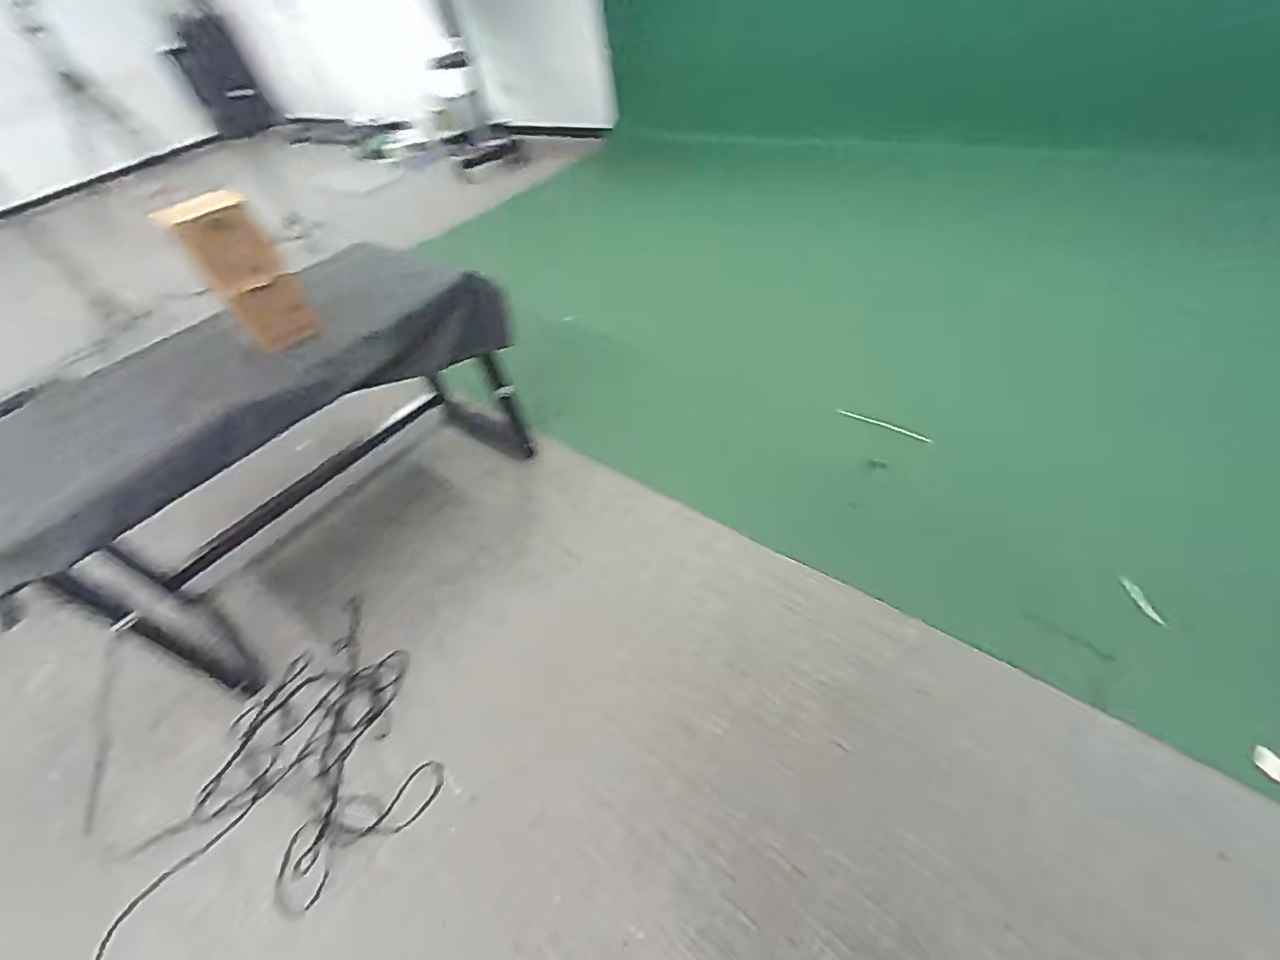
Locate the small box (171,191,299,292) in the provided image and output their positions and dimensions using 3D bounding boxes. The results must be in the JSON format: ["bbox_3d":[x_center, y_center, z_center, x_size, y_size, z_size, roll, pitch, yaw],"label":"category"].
[{"bbox_3d":[-0.982,-0.581,1.319,0.179,0.176,0.168,31,59,34],"label":"small box"}]

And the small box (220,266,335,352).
[{"bbox_3d":[-0.946,-0.460,1.423,0.179,0.176,0.168,29,58,35],"label":"small box"}]
